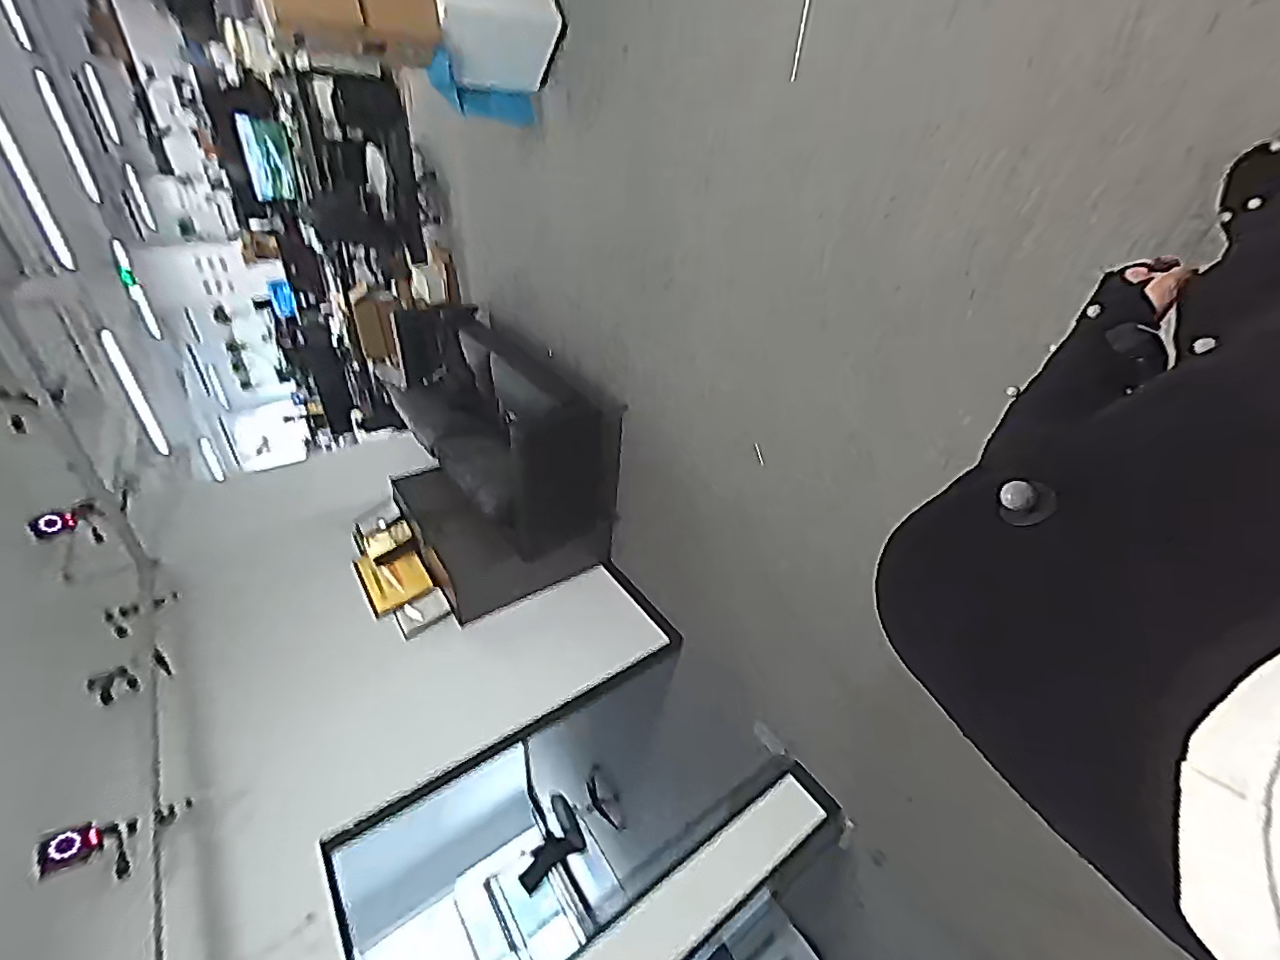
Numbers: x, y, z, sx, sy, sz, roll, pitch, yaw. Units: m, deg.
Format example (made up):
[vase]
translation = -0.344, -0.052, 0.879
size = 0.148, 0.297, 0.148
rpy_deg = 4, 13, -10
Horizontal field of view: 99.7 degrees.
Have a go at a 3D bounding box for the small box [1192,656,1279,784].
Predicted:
[small box]
translation = 1.381, 0.509, 1.173
size = 0.179, 0.176, 0.168
rpy_deg = 47, 142, 33
